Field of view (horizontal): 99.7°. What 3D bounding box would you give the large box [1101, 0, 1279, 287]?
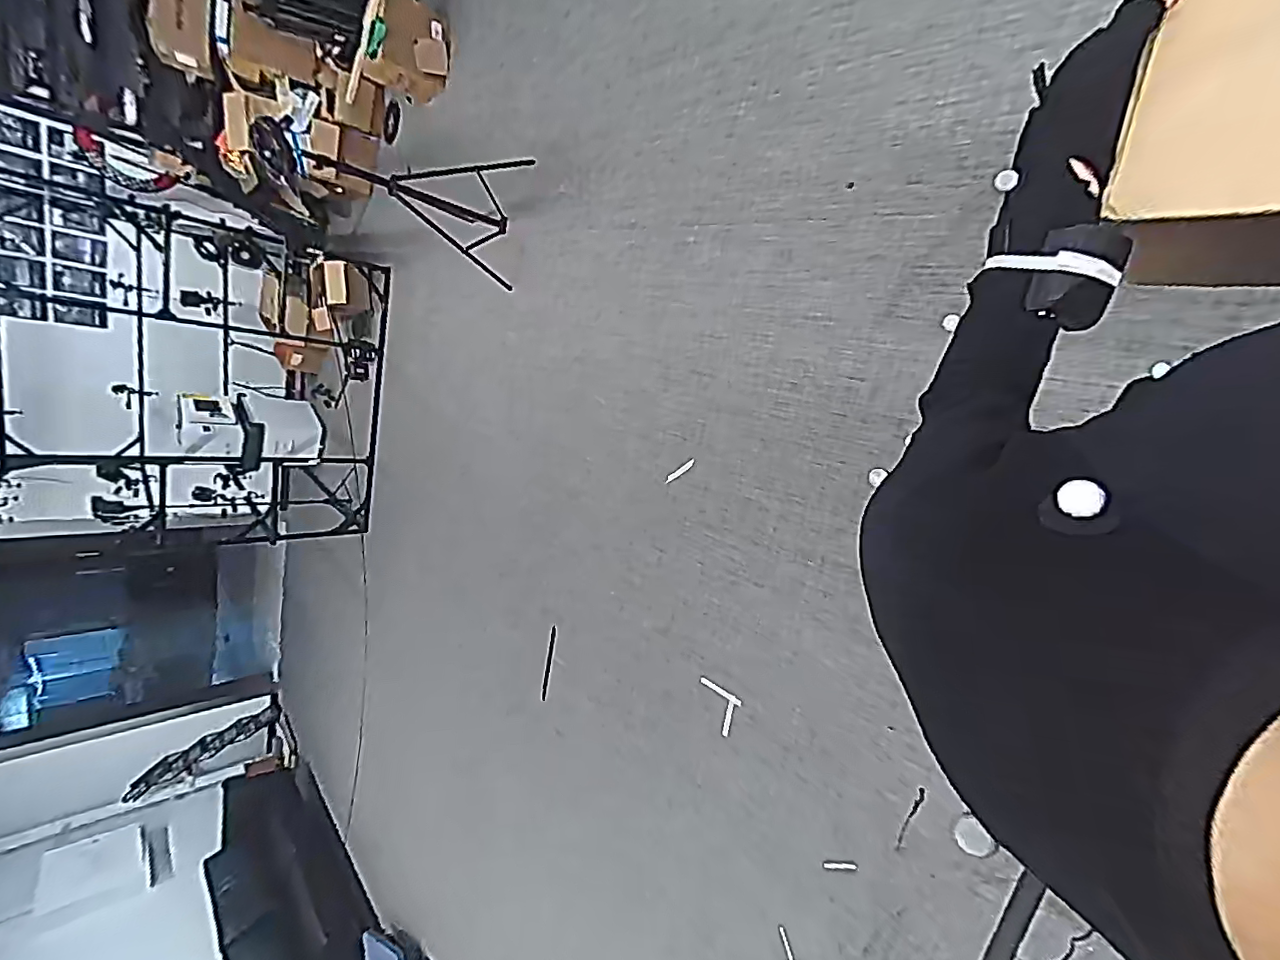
[{"bbox_3d":[0.611,-0.316,0.359,0.408,0.320,0.320,19,109,41],"label":"large box"}]
